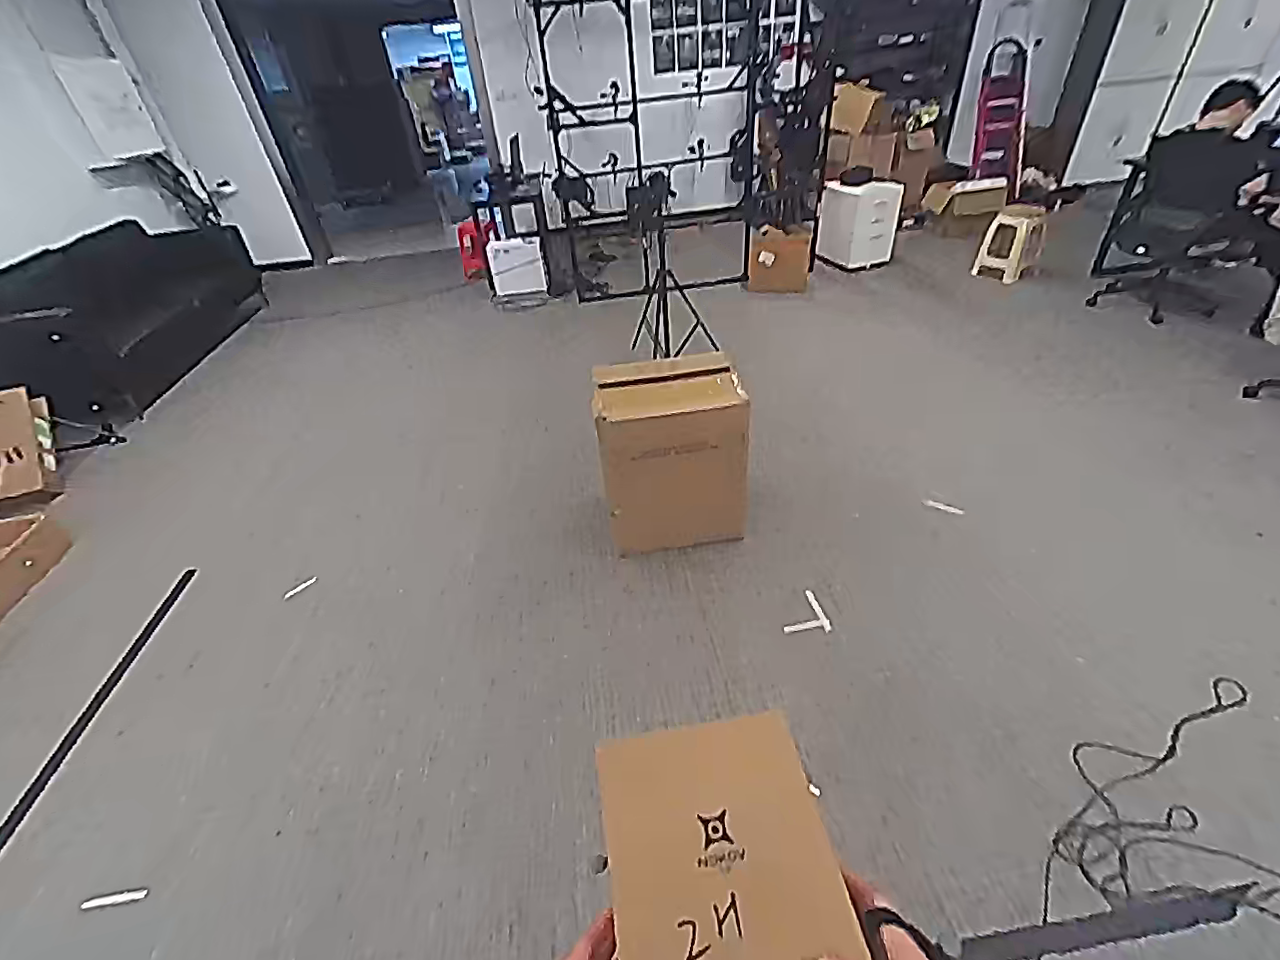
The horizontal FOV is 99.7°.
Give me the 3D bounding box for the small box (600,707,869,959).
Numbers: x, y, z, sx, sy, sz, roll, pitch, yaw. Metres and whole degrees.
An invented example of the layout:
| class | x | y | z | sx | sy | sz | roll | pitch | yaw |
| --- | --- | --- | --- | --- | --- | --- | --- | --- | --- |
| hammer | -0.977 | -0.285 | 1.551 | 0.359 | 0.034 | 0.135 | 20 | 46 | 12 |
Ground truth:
| class | x | y | z | sx | sy | sz | roll | pitch | yaw |
| --- | --- | --- | --- | --- | --- | --- | --- | --- | --- |
| small box | 0.059 | 0.327 | 0.462 | 0.168 | 0.176 | 0.179 | -8 | 44 | -6 |
